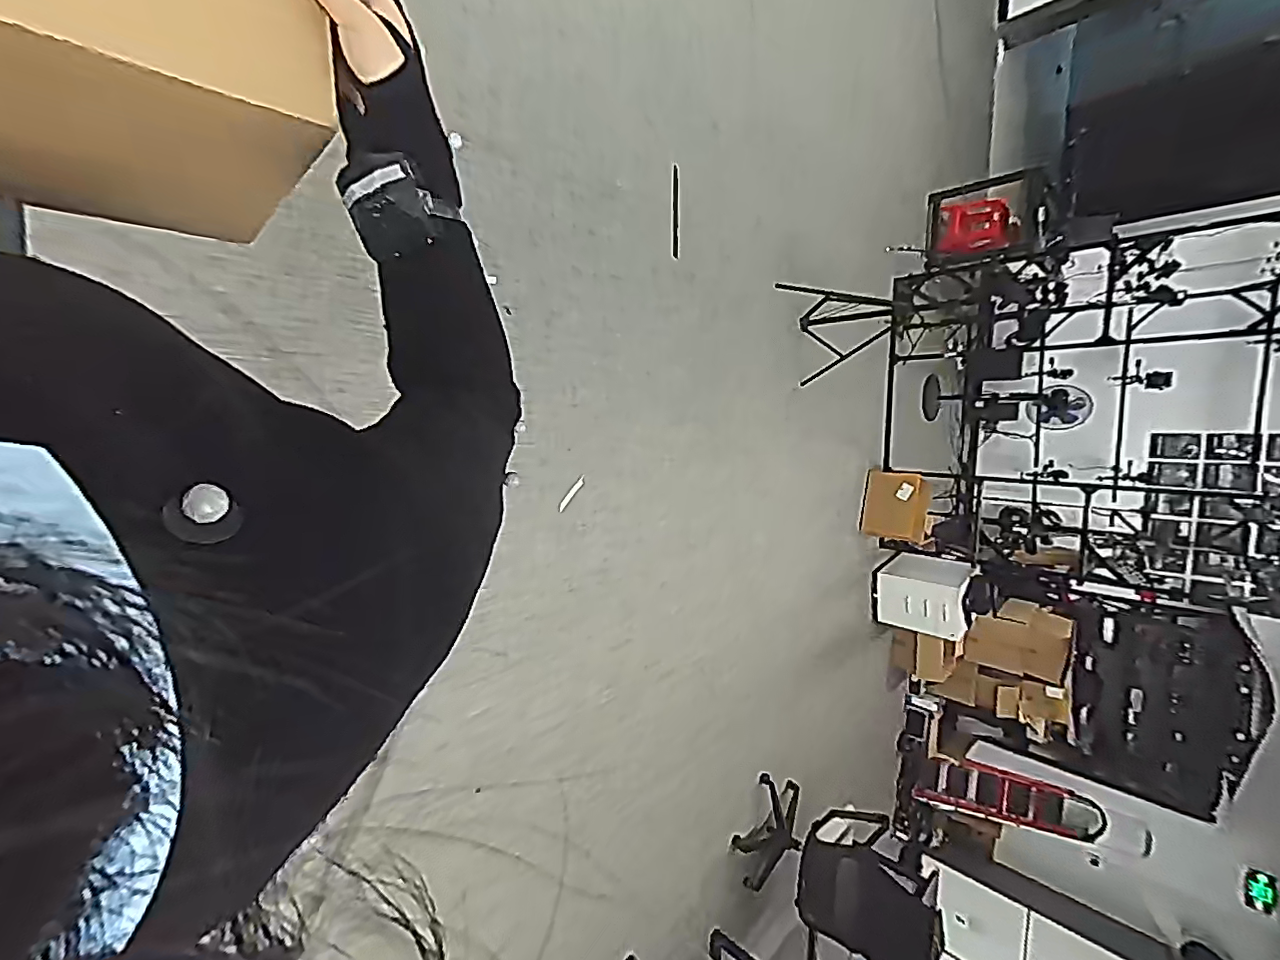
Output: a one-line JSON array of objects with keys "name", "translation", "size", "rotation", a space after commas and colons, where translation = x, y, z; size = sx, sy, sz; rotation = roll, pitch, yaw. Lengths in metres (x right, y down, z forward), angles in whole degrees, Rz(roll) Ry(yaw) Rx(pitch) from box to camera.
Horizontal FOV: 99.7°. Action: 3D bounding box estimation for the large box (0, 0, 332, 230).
[{"name": "large box", "translation": [-0.473, -0.394, 0.343], "size": [0.408, 0.320, 0.320], "rotation": [-8, 97, -44]}]
